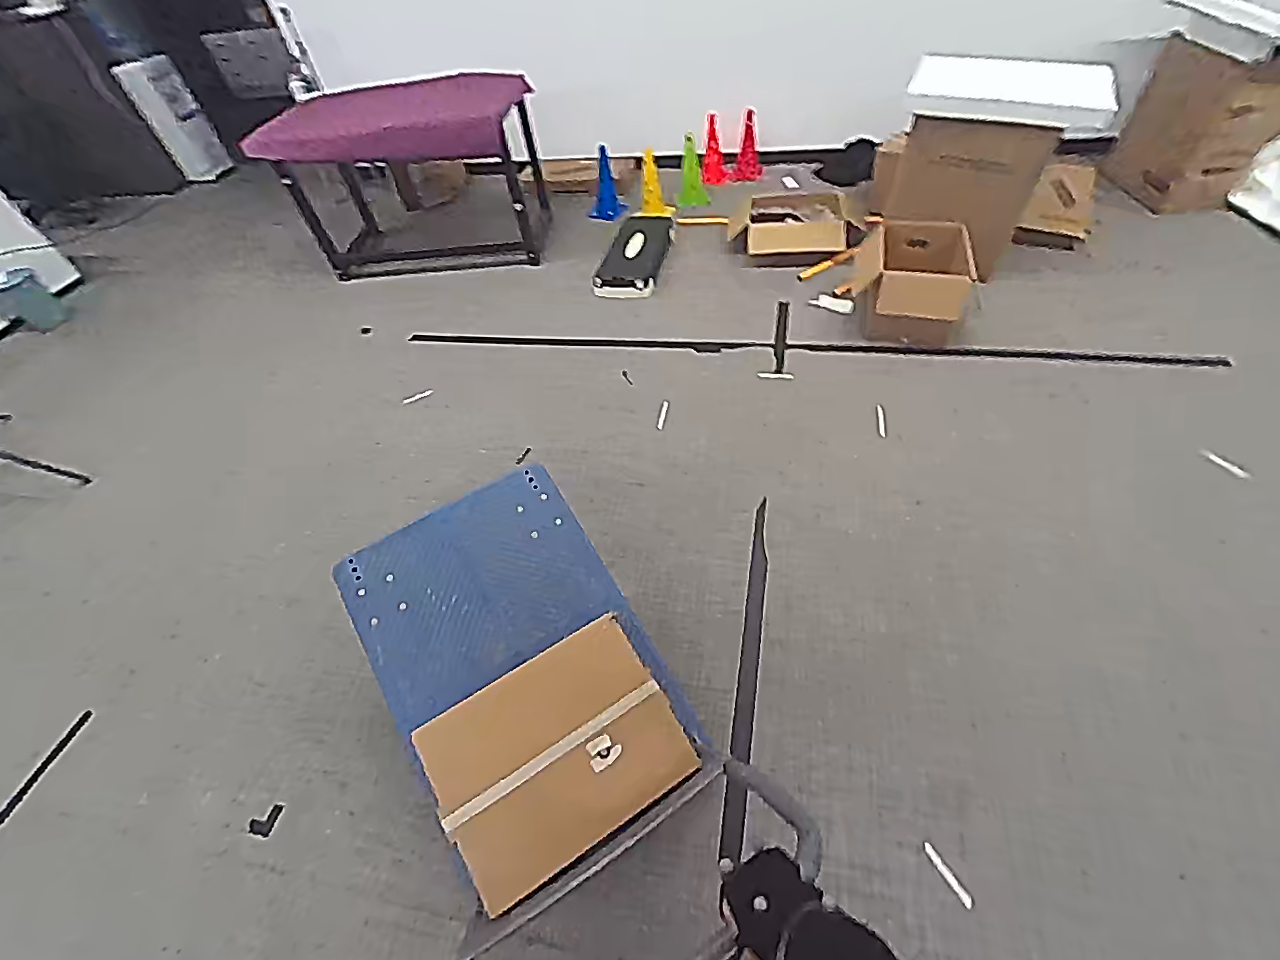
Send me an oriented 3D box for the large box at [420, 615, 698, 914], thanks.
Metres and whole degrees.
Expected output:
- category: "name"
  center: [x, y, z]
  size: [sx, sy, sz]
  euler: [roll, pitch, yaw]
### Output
- category: "large box"
  center: [-0.154, 0.536, 1.085]
  size: [0.408, 0.320, 0.320]
  euler: [-29, 72, -17]
